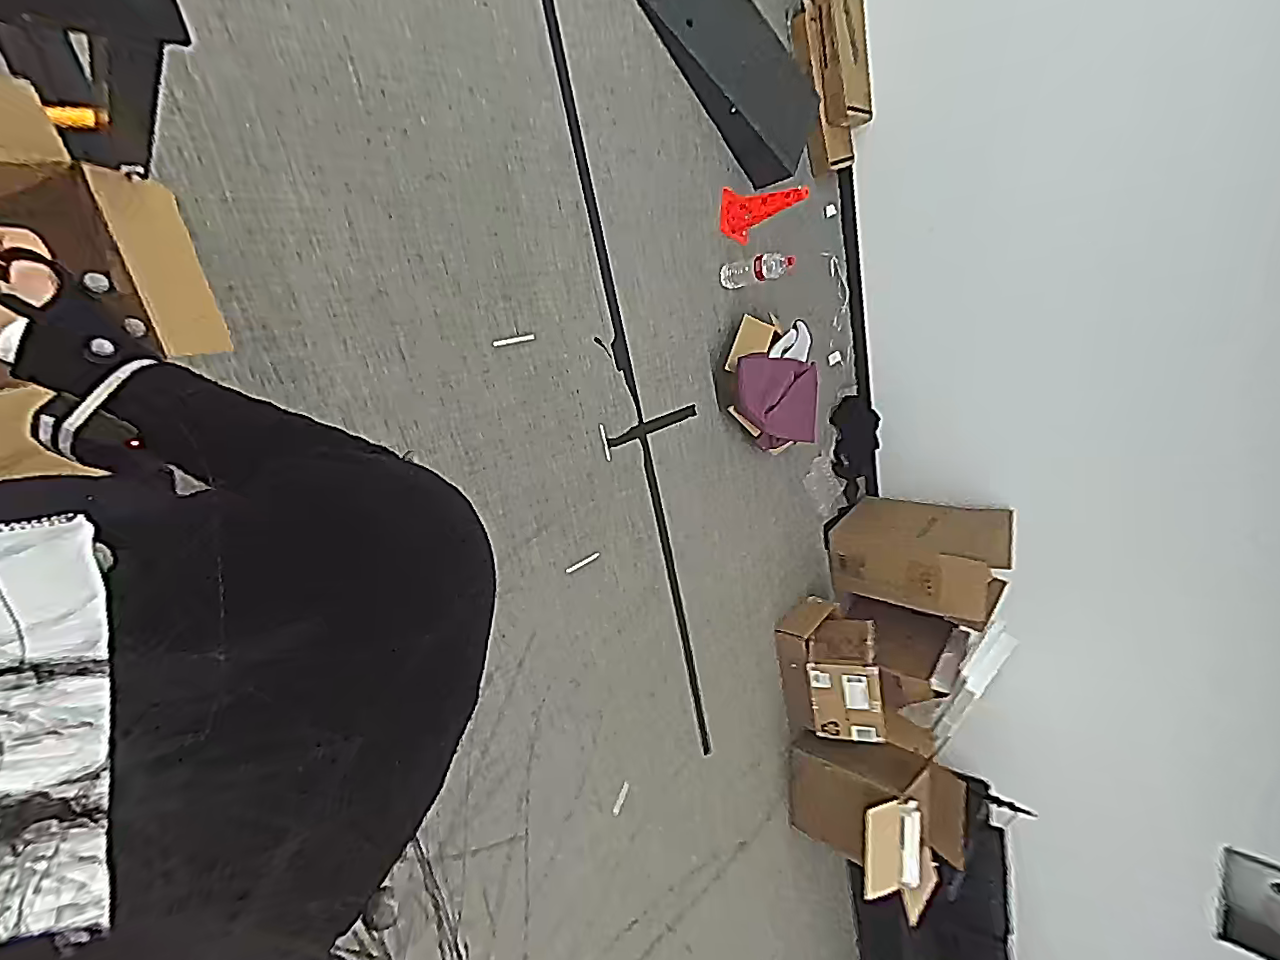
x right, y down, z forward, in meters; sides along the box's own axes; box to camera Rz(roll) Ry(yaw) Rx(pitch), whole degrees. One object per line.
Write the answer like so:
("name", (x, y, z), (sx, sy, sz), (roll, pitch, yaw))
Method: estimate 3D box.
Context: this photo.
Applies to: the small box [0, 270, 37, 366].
("small box", (-0.610, -0.161, 0.396), (0.179, 0.176, 0.168), (-26, 110, -39))
